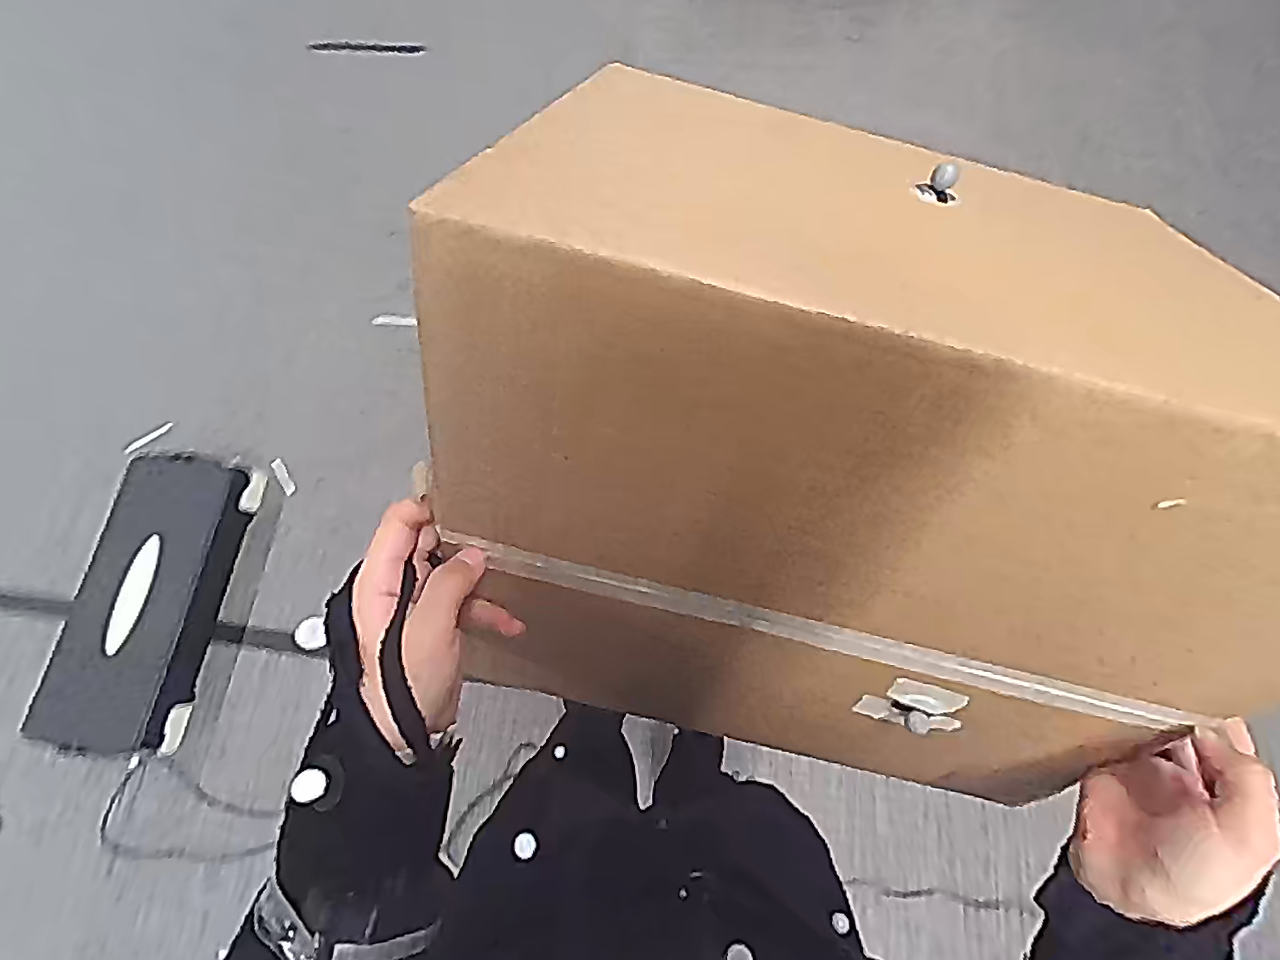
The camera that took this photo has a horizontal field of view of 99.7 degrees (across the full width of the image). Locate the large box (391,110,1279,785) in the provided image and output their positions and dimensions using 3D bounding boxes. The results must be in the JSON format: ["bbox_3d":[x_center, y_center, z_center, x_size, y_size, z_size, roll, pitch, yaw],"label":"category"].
[{"bbox_3d":[0.105,-0.026,0.389,0.408,0.320,0.320,12,45,-2],"label":"large box"}]
